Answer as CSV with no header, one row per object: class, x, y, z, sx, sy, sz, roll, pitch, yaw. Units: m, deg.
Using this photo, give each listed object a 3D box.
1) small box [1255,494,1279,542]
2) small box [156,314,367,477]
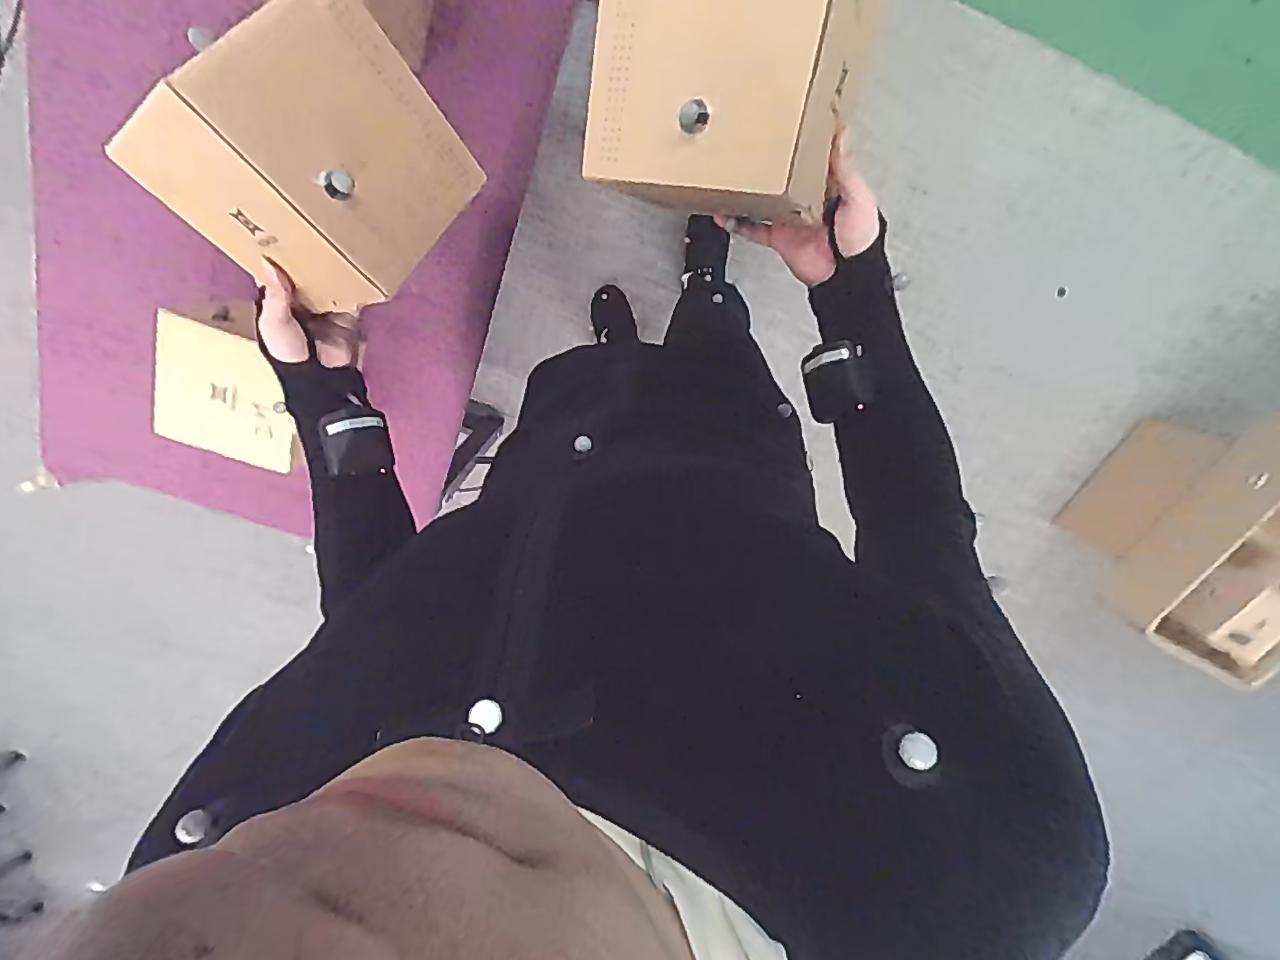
small box,1.623,0.094,1.252,0.168,0.176,0.179,29,108,-11
small box,-0.526,-0.129,0.768,0.179,0.176,0.168,19,110,-7
